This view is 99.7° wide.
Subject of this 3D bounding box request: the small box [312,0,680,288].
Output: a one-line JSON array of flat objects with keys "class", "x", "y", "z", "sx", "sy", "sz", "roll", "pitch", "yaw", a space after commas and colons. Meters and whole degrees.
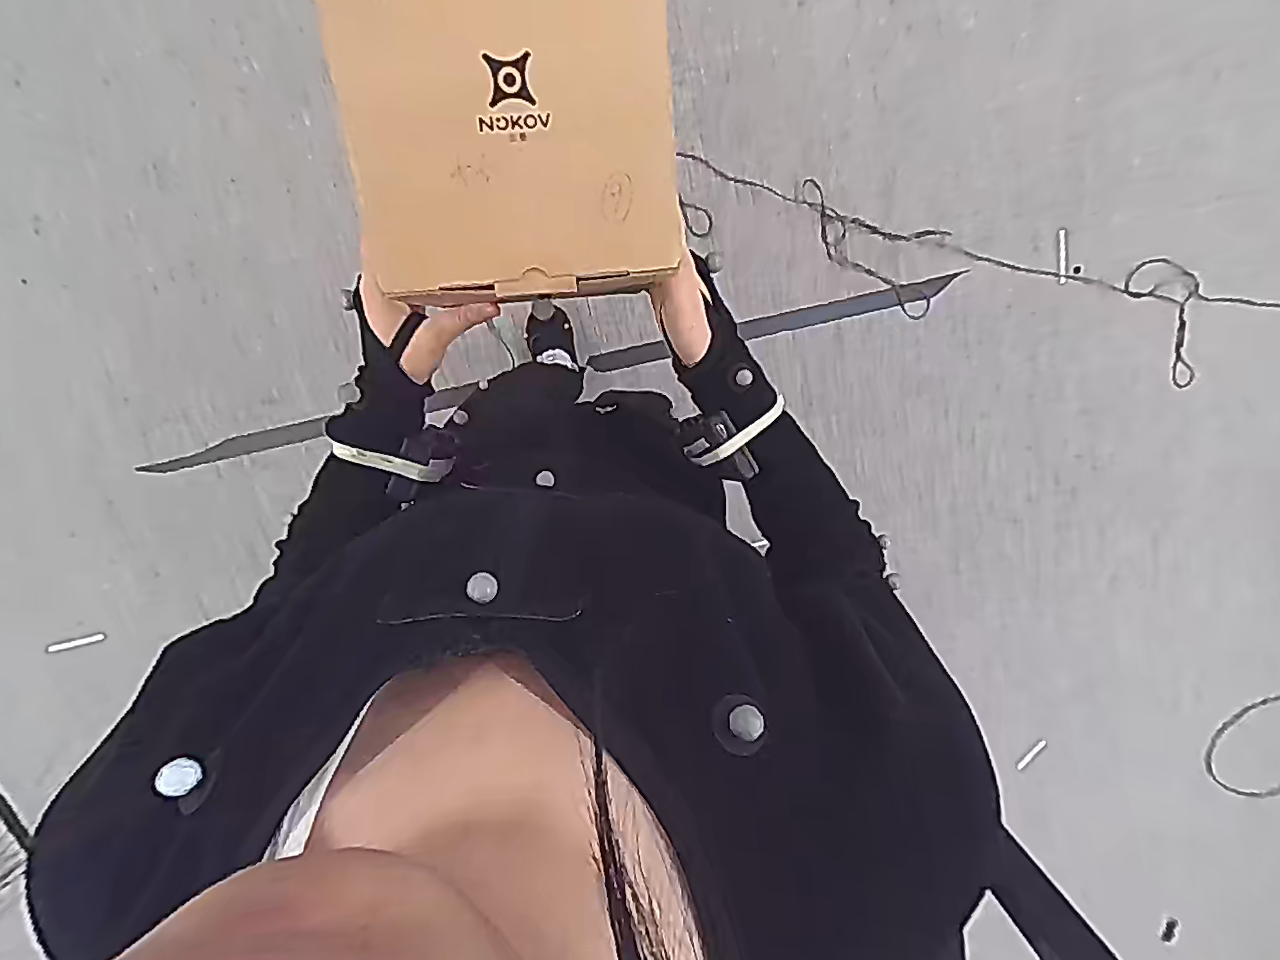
[{"class": "small box", "x": -0.075, "y": -0.216, "z": 0.335, "sx": 0.168, "sy": 0.176, "sz": 0.179, "roll": -8, "pitch": 108, "yaw": -7}]
